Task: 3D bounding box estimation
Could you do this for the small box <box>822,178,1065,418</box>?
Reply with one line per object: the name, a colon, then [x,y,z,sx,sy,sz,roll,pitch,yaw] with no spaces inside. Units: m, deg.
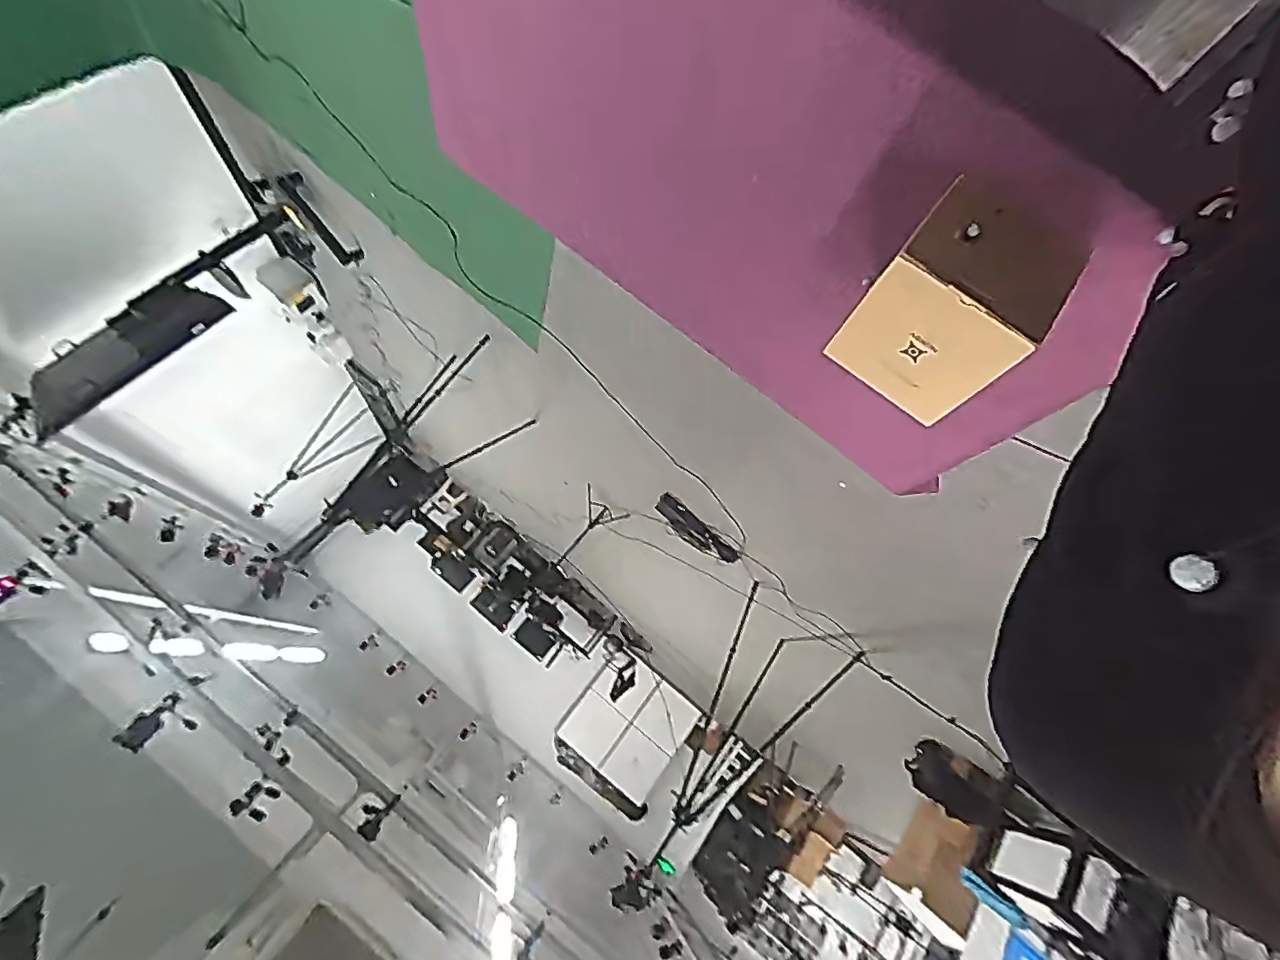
small box: [0.361,-0.215,0.649,0.168,0.176,0.179,39,159,6]
